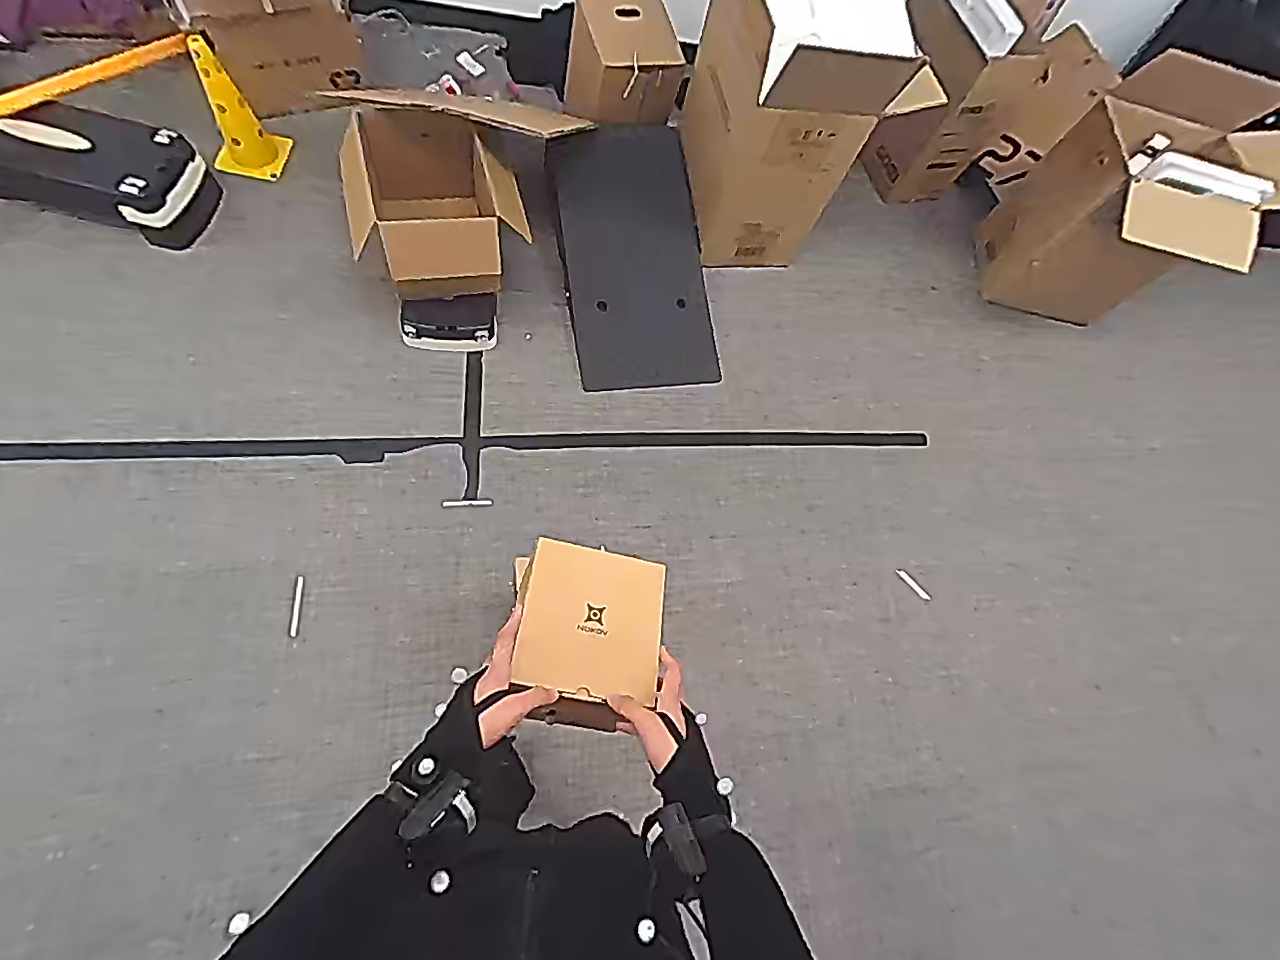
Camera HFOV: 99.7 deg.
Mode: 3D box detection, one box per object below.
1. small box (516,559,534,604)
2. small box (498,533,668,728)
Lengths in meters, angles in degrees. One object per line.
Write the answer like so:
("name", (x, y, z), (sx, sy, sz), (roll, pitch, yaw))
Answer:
("small box", (-0.200, 0.284, 1.271), (0.179, 0.176, 0.168), (0, 69, -13))
("small box", (-0.074, 0.194, 0.677), (0.168, 0.176, 0.179), (15, 56, -12))
